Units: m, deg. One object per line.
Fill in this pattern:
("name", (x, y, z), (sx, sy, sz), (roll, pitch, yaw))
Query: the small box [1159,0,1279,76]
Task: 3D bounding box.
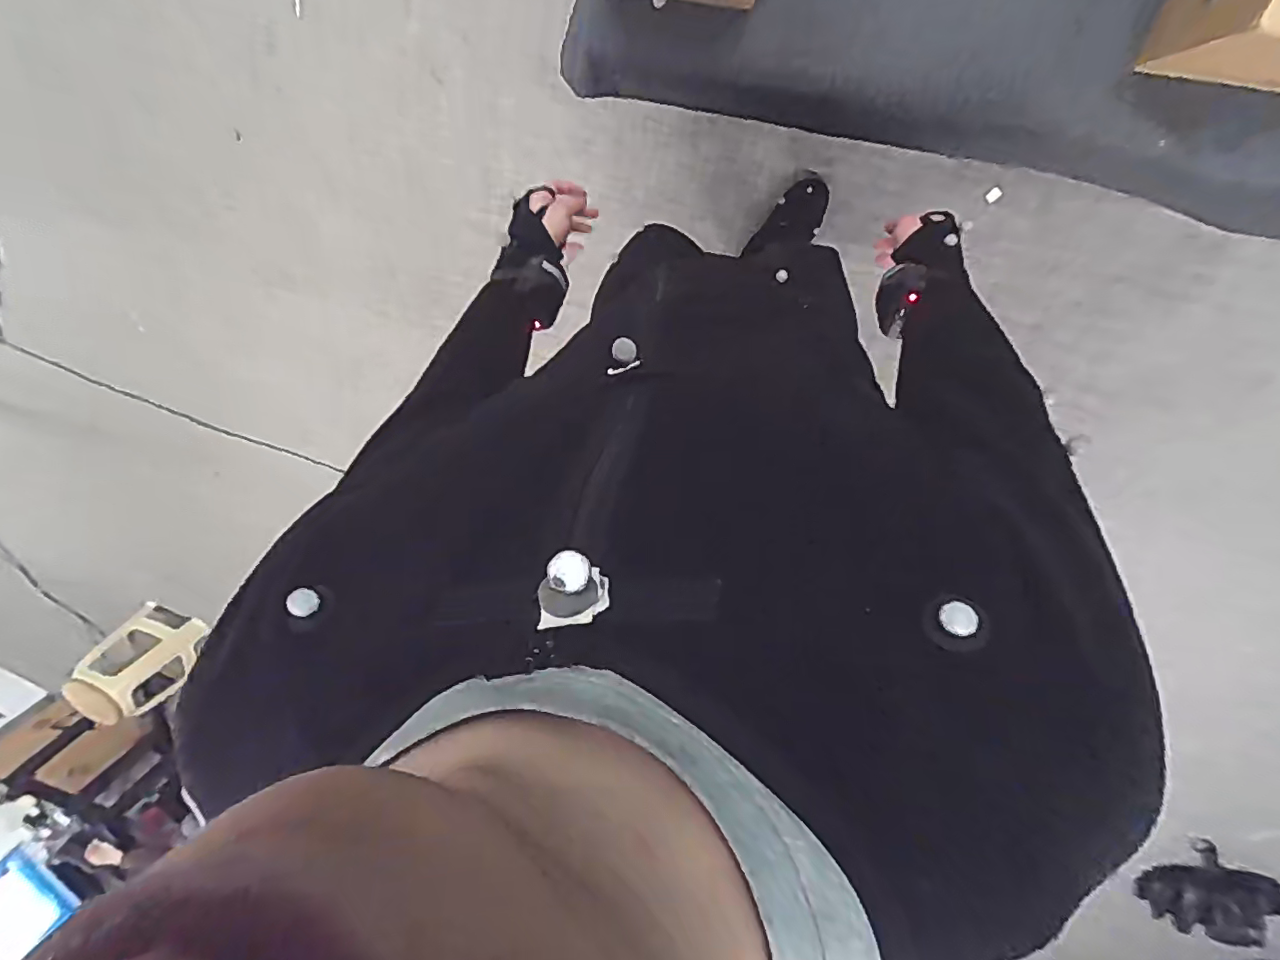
("small box", (0.534, -0.405, 0.380), (0.168, 0.176, 0.179), (14, 121, 6))
